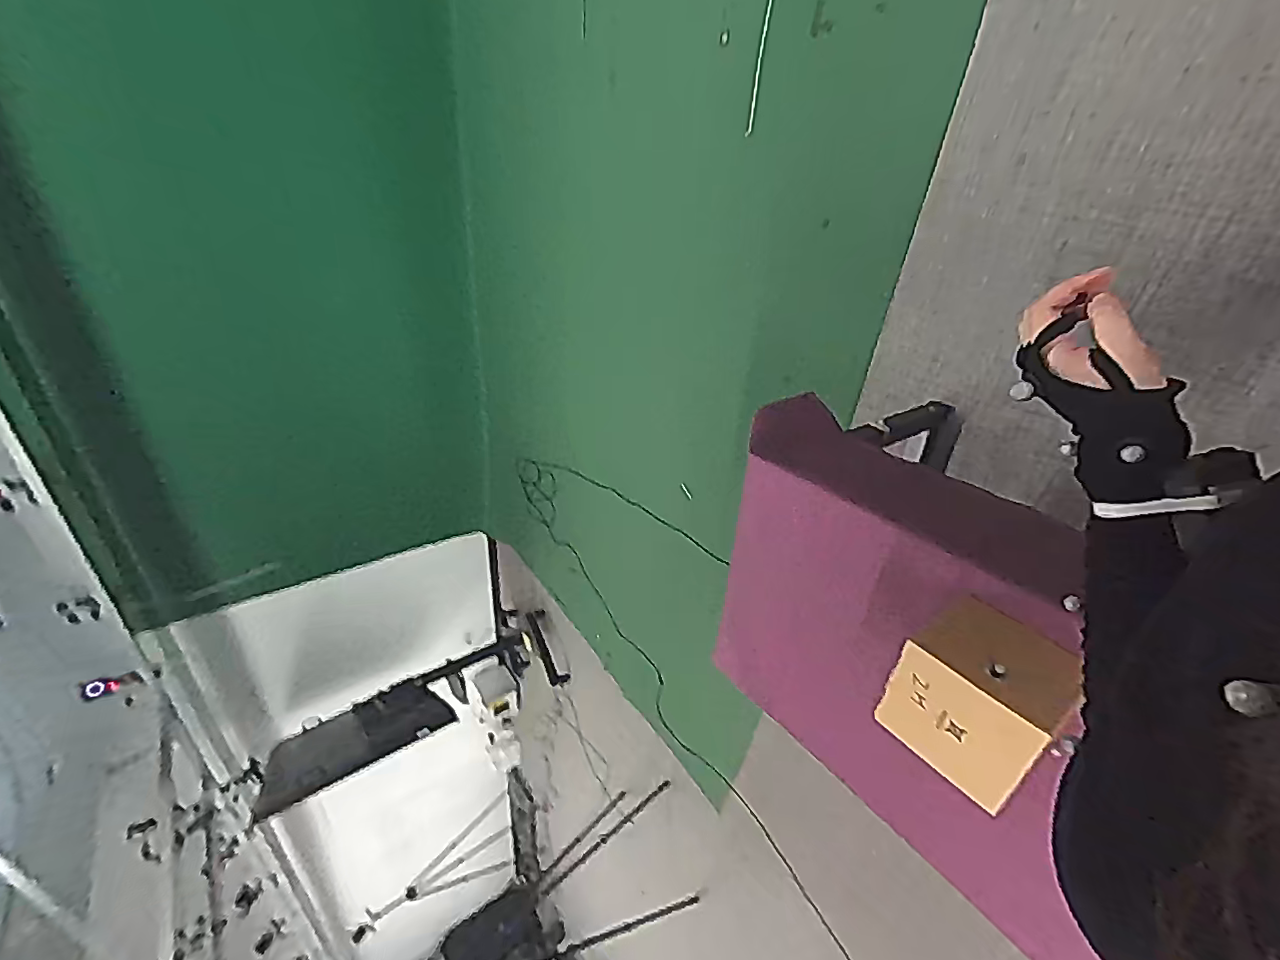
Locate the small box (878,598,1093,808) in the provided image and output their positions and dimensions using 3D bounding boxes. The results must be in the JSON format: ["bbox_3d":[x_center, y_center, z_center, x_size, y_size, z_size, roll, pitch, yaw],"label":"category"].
[{"bbox_3d":[0.474,0.294,0.750,0.179,0.176,0.168,37,133,42],"label":"small box"}]
